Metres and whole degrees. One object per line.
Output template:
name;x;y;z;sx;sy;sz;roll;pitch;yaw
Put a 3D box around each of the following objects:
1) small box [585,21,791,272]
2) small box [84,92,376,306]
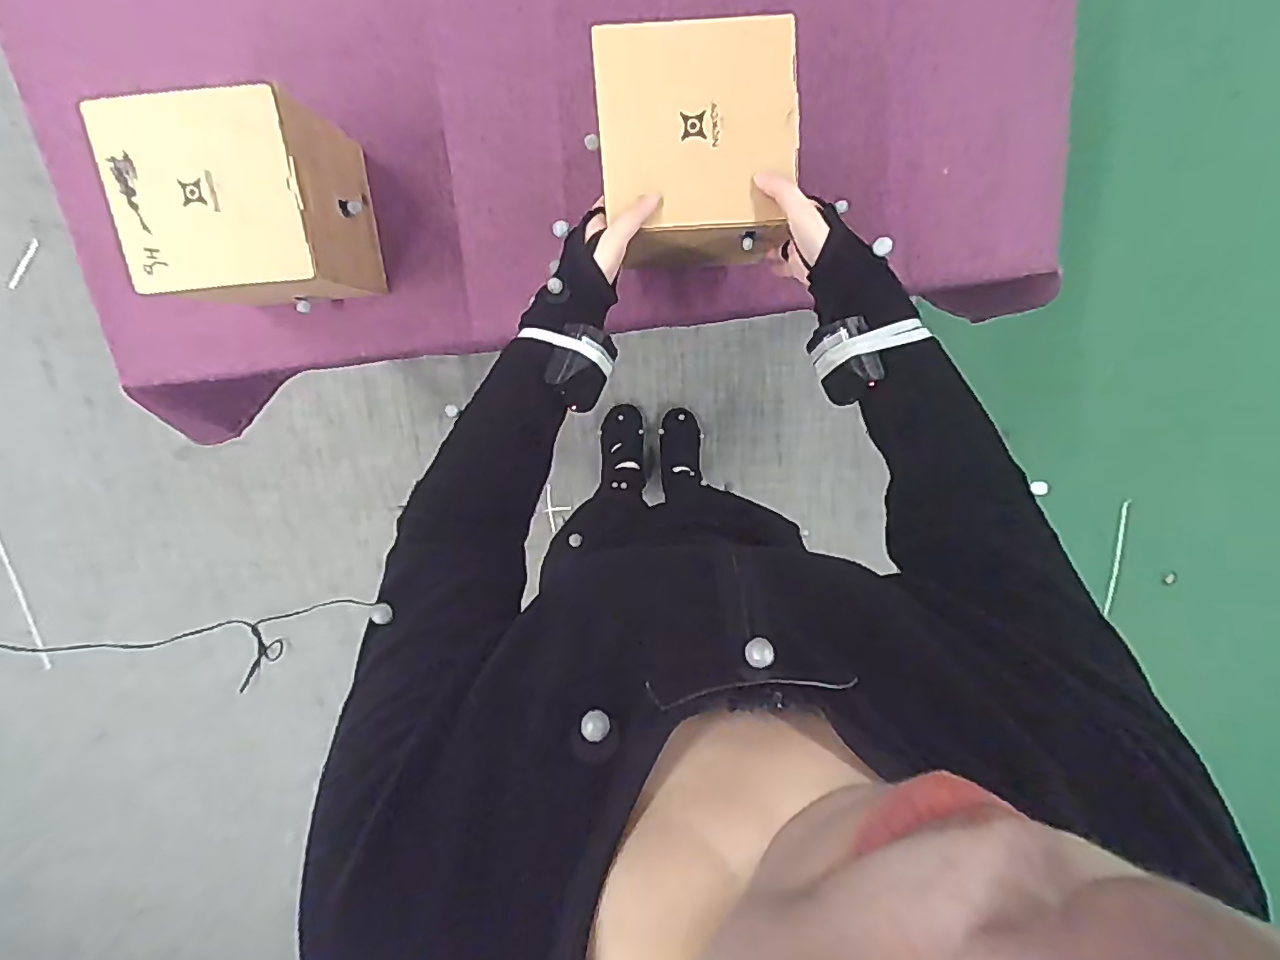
small box;0.043;-0.318;0.551;0.179;0.176;0.168;-4;99;-1
small box;-0.407;-0.283;0.580;0.179;0.176;0.168;-5;103;-1
